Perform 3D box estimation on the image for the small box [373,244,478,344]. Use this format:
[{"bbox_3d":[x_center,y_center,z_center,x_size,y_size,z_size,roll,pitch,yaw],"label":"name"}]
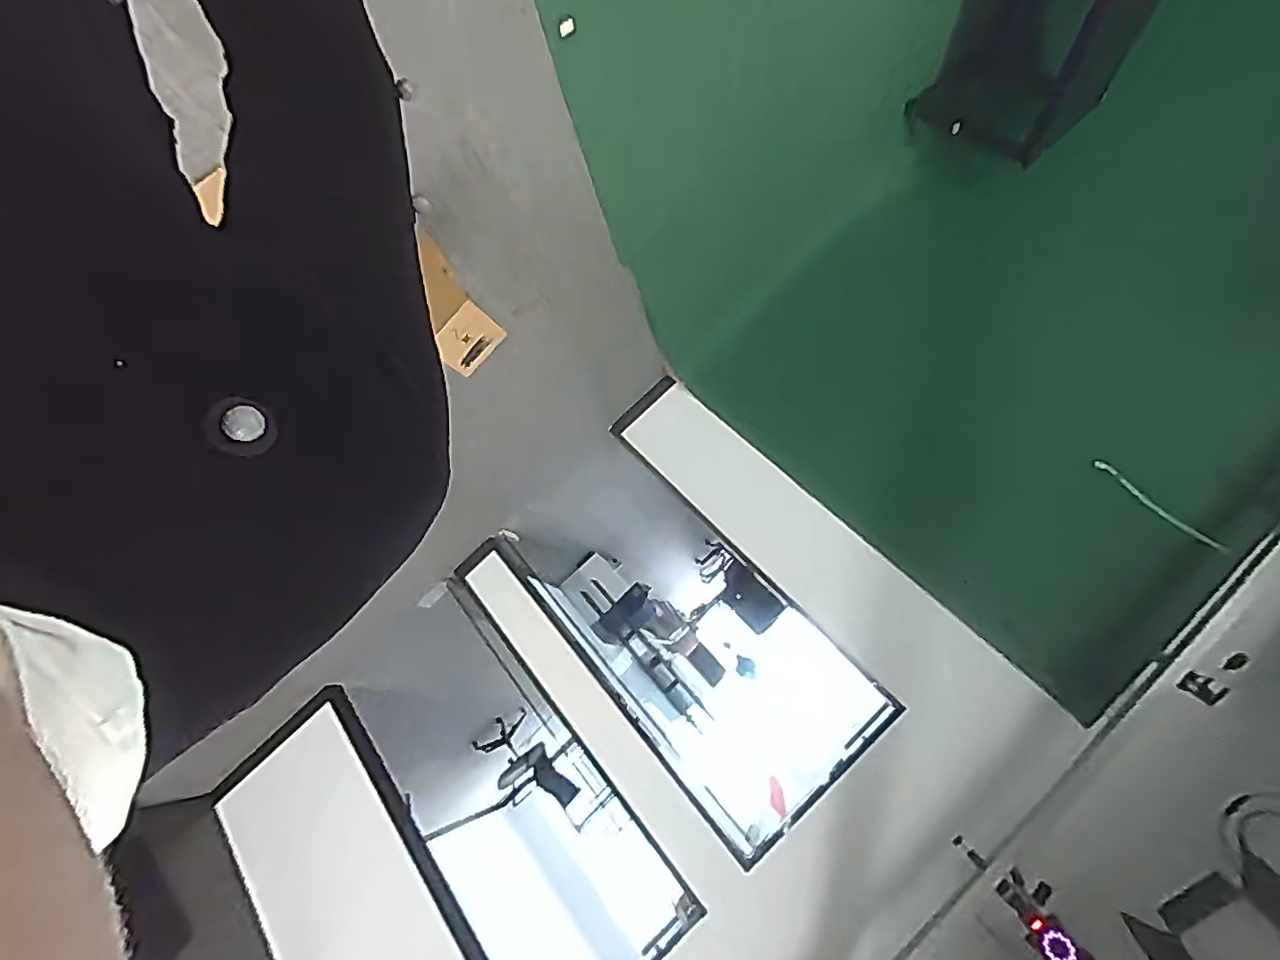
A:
[{"bbox_3d":[-0.593,-0.516,1.488,0.168,0.176,0.179,-44,157,1],"label":"small box"}]
